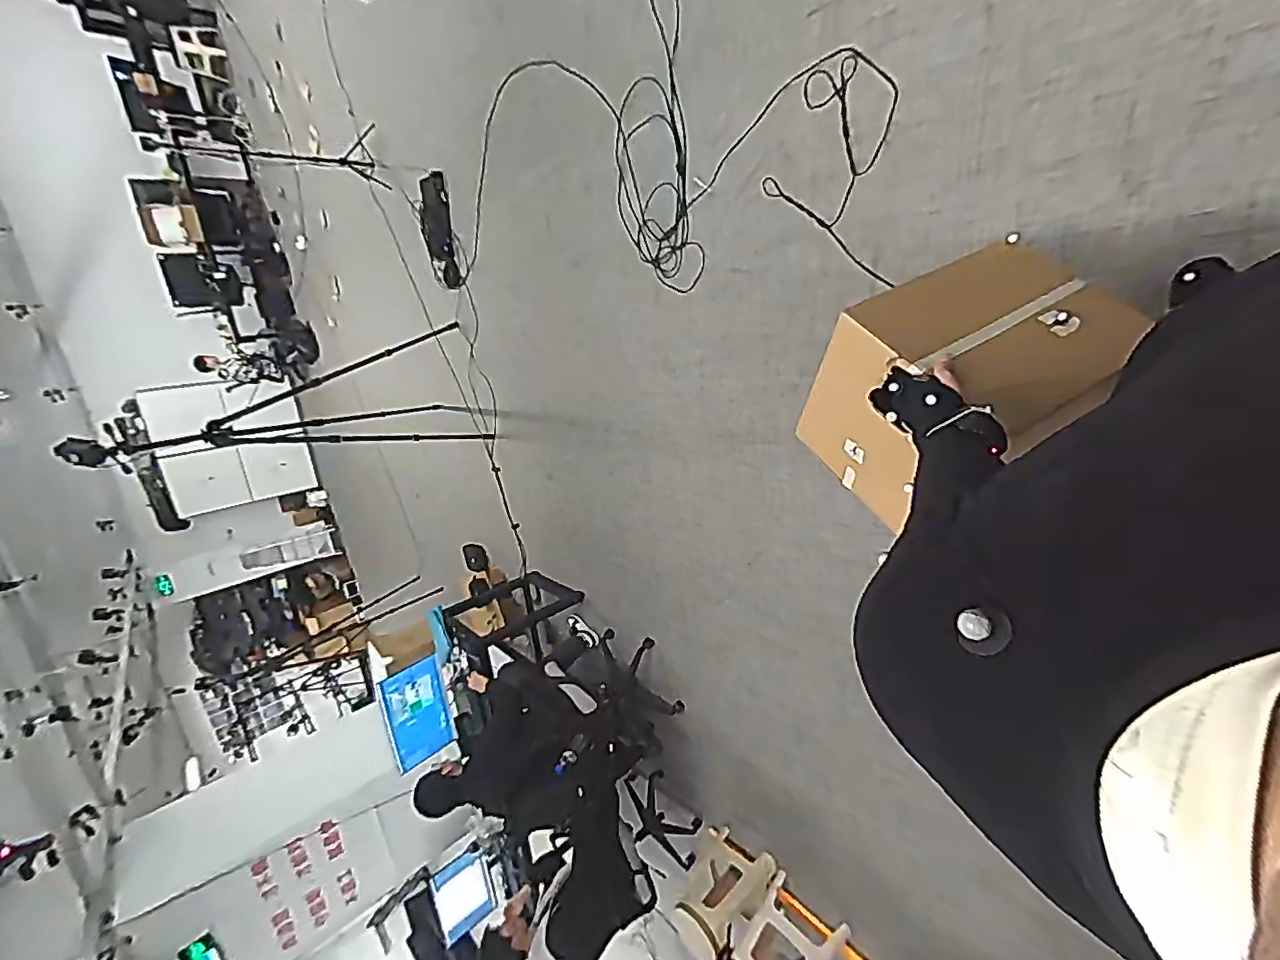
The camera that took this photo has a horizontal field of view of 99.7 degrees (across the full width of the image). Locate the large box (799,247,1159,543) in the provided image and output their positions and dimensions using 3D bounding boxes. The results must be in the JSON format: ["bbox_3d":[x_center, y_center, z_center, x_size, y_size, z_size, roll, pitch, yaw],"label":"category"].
[{"bbox_3d":[0.569,-0.156,0.978,0.320,0.408,0.320,53,158,29],"label":"large box"}]
